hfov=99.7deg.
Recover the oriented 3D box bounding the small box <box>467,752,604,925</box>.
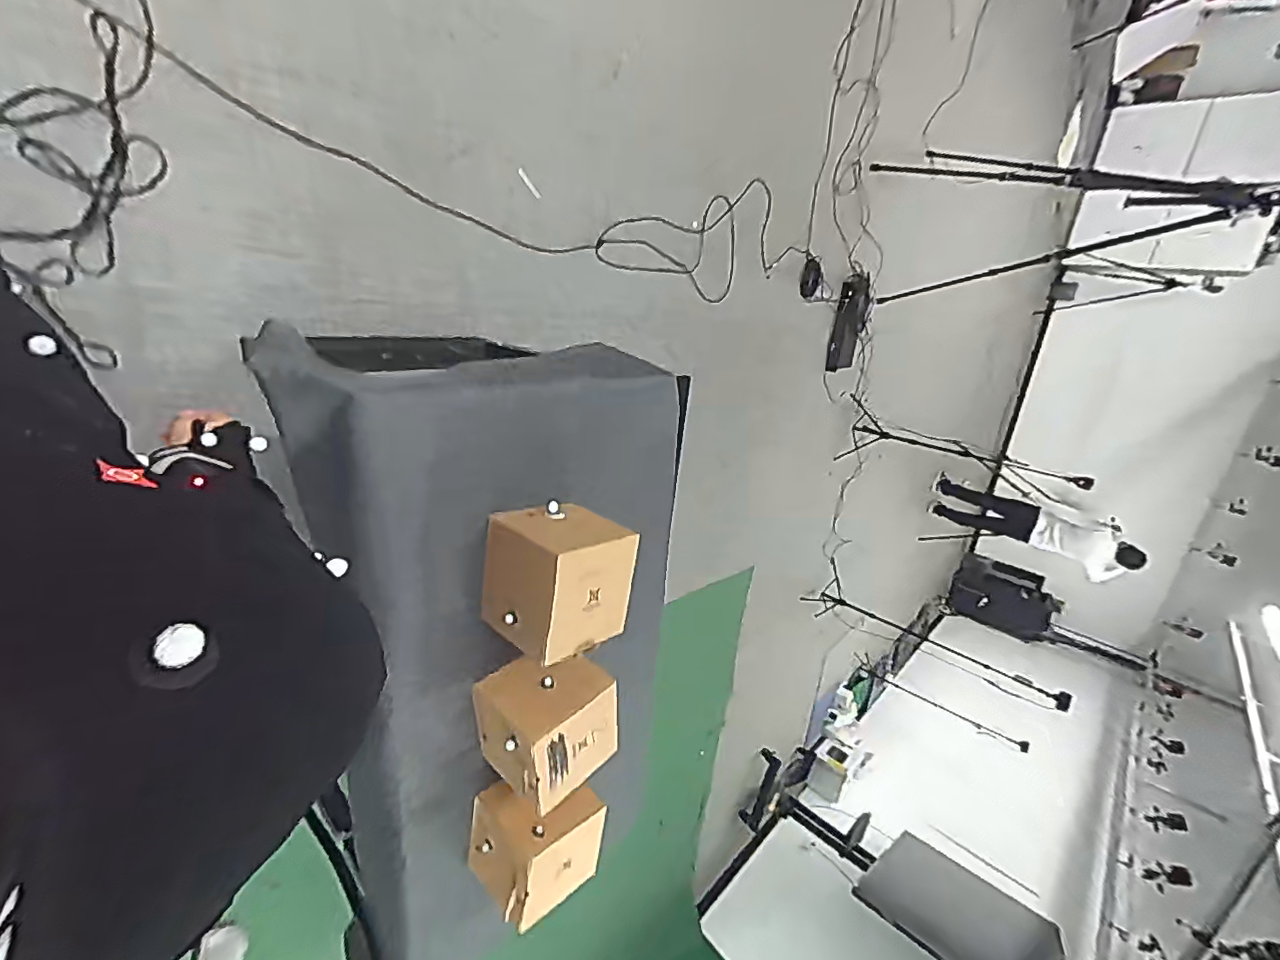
[{"bbox_3d":[-0.197,0.652,1.013,0.179,0.176,0.168,-7,113,-47],"label":"small box"}]

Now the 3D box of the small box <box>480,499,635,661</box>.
[{"bbox_3d":[-0.134,0.145,0.846,0.168,0.176,0.179,-10,113,-49],"label":"small box"}]
